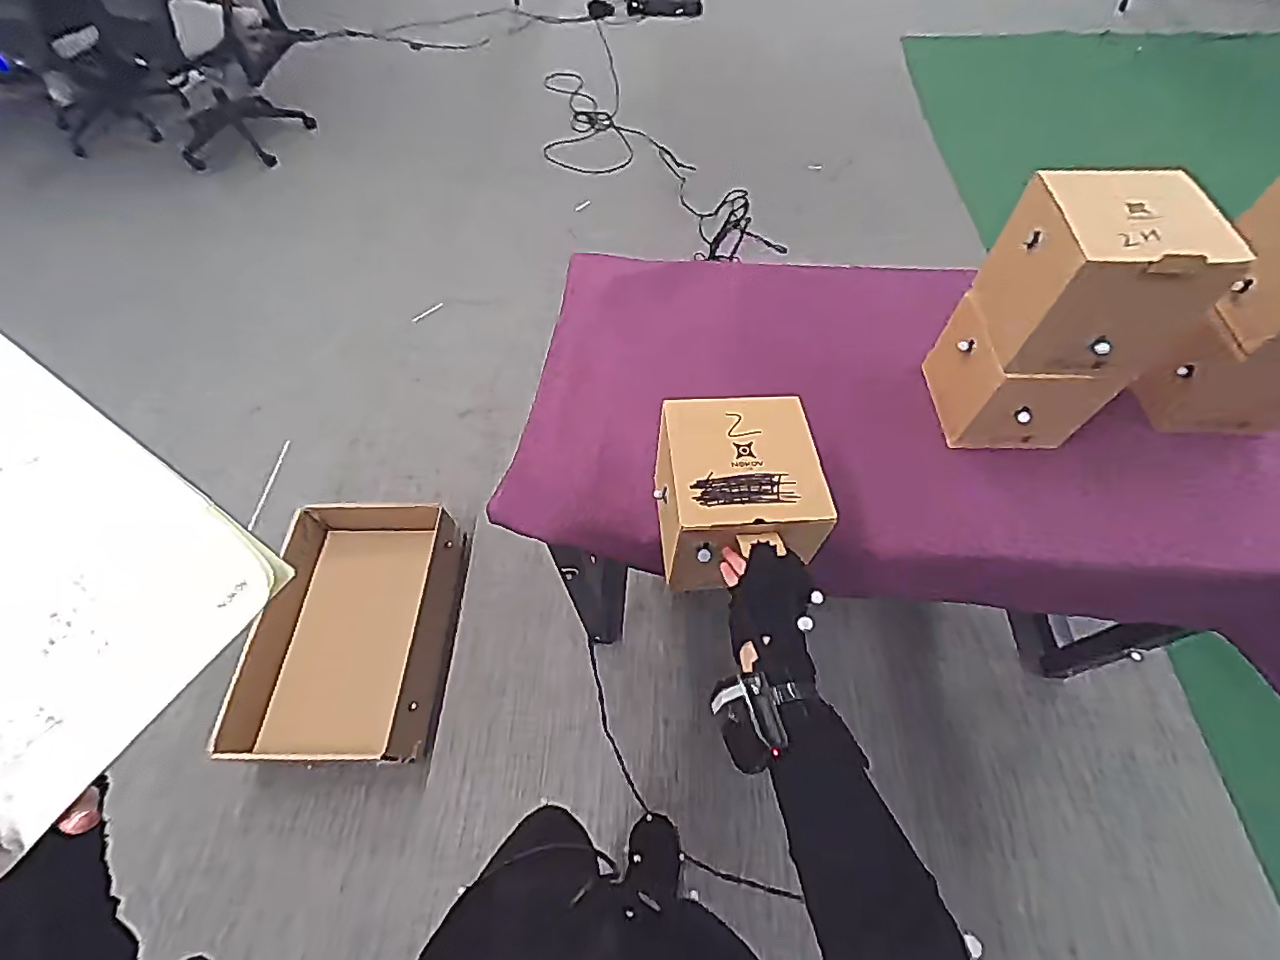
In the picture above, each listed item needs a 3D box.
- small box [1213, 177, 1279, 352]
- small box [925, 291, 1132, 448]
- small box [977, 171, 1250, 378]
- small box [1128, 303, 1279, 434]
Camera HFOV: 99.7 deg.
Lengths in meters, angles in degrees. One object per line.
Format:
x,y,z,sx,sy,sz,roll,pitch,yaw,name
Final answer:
0.865,-0.269,0.666,0.168,0.176,0.179,3,60,3,small box
0.557,-0.160,0.808,0.168,0.176,0.179,0,58,3,small box
0.554,-0.251,0.670,0.168,0.176,0.179,3,59,5,small box
0.877,-0.184,0.807,0.168,0.176,0.179,3,59,4,small box
